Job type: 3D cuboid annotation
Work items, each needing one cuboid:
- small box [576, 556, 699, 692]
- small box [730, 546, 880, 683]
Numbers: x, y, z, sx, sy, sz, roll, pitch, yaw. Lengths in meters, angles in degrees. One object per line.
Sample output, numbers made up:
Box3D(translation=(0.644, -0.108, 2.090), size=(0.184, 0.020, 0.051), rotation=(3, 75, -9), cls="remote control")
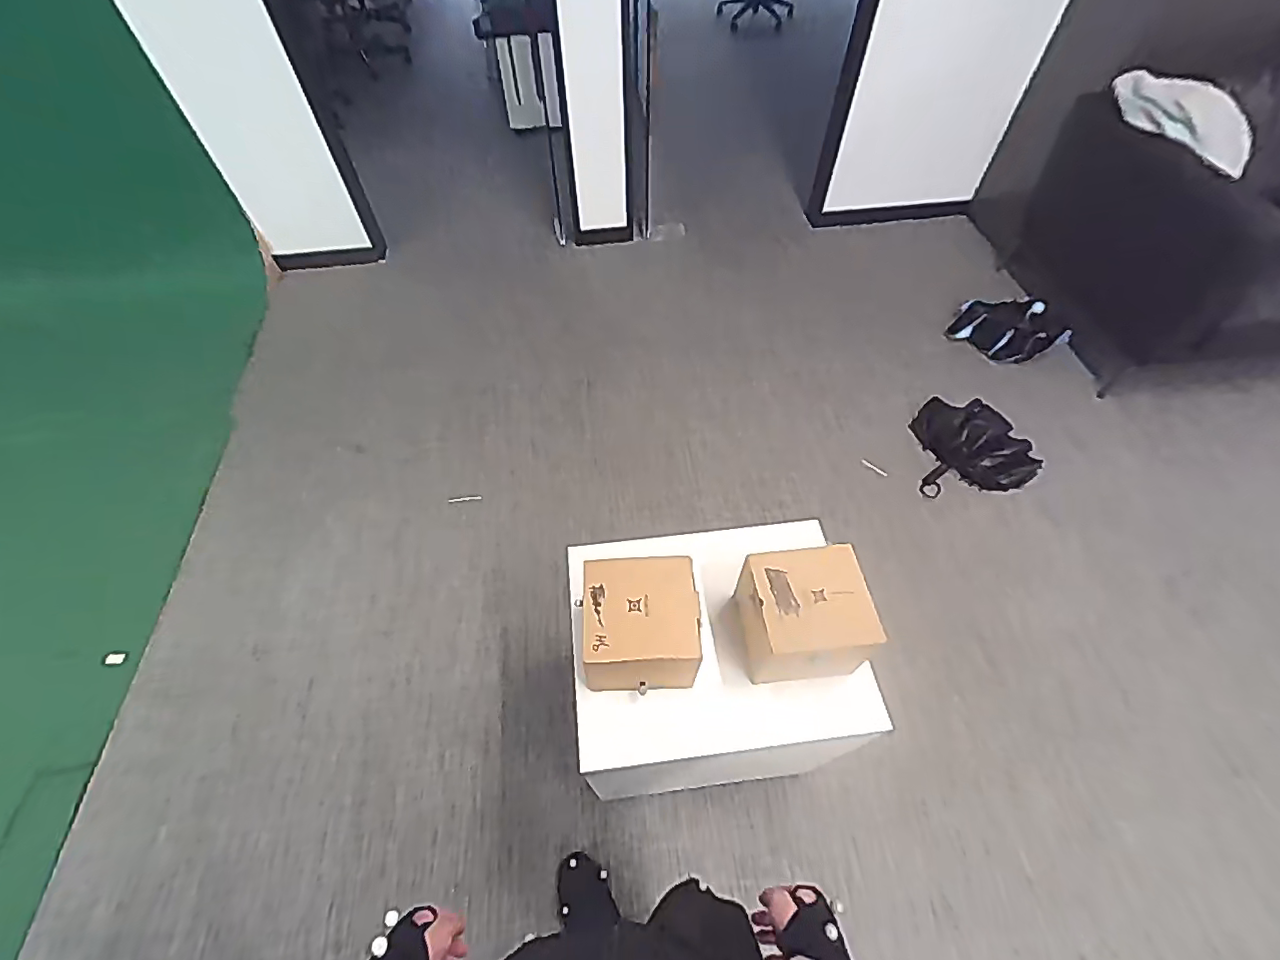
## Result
Box3D(translation=(-0.012, 0.233, 0.868), size=(0.179, 0.176, 0.168), rotation=(0, 53, -5), cls="small box")
Box3D(translation=(0.254, 0.225, 0.892), size=(0.179, 0.176, 0.168), rotation=(-4, 55, -7), cls="small box")
